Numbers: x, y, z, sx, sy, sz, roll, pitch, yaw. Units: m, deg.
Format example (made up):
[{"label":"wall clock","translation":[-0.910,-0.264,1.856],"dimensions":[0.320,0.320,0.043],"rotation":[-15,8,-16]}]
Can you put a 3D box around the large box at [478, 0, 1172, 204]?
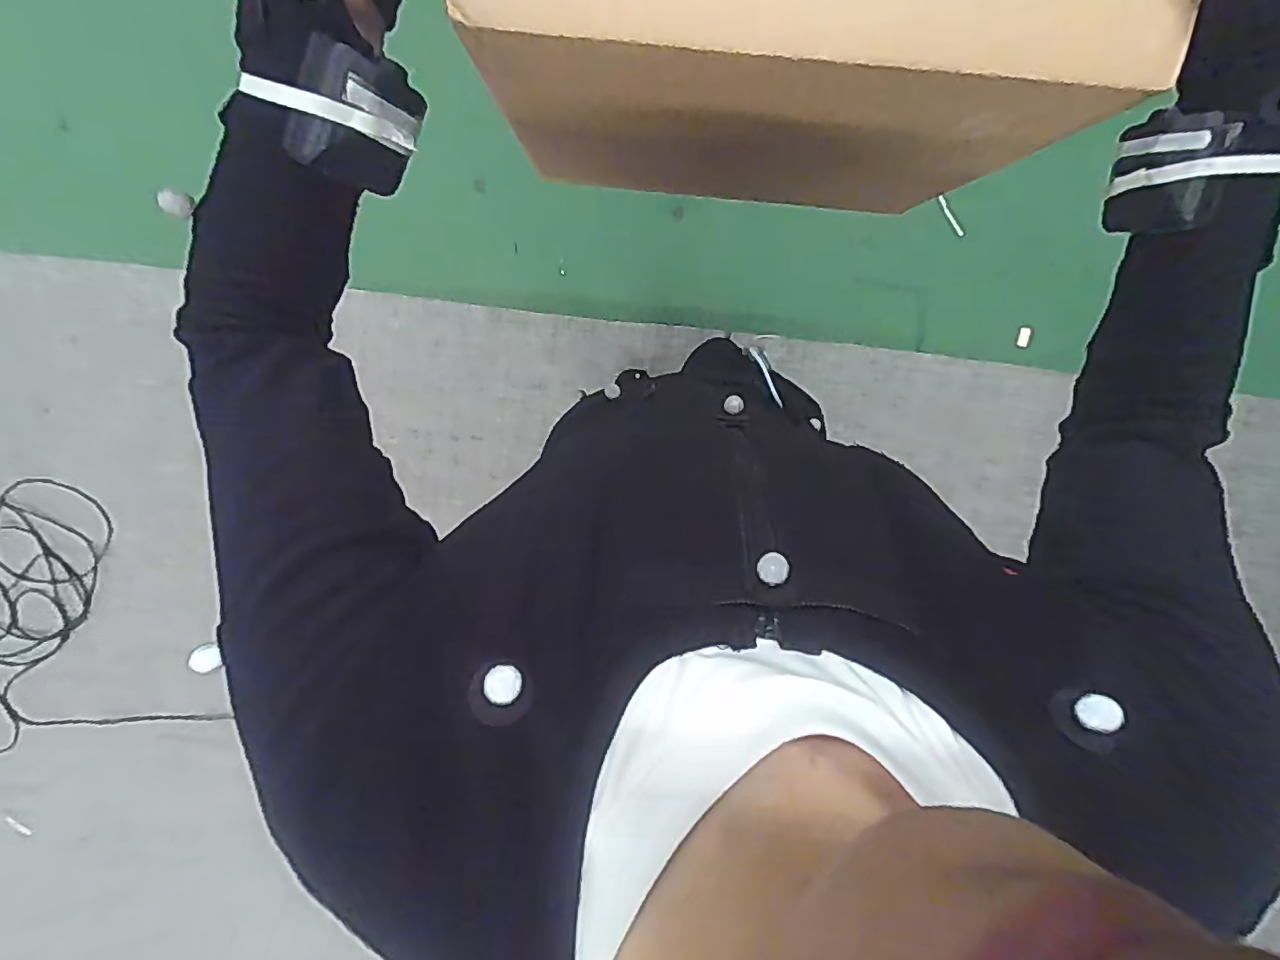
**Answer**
[{"label":"large box","translation":[0.107,-0.428,0.417],"dimensions":[0.408,0.320,0.320],"rotation":[3,105,-3]}]
